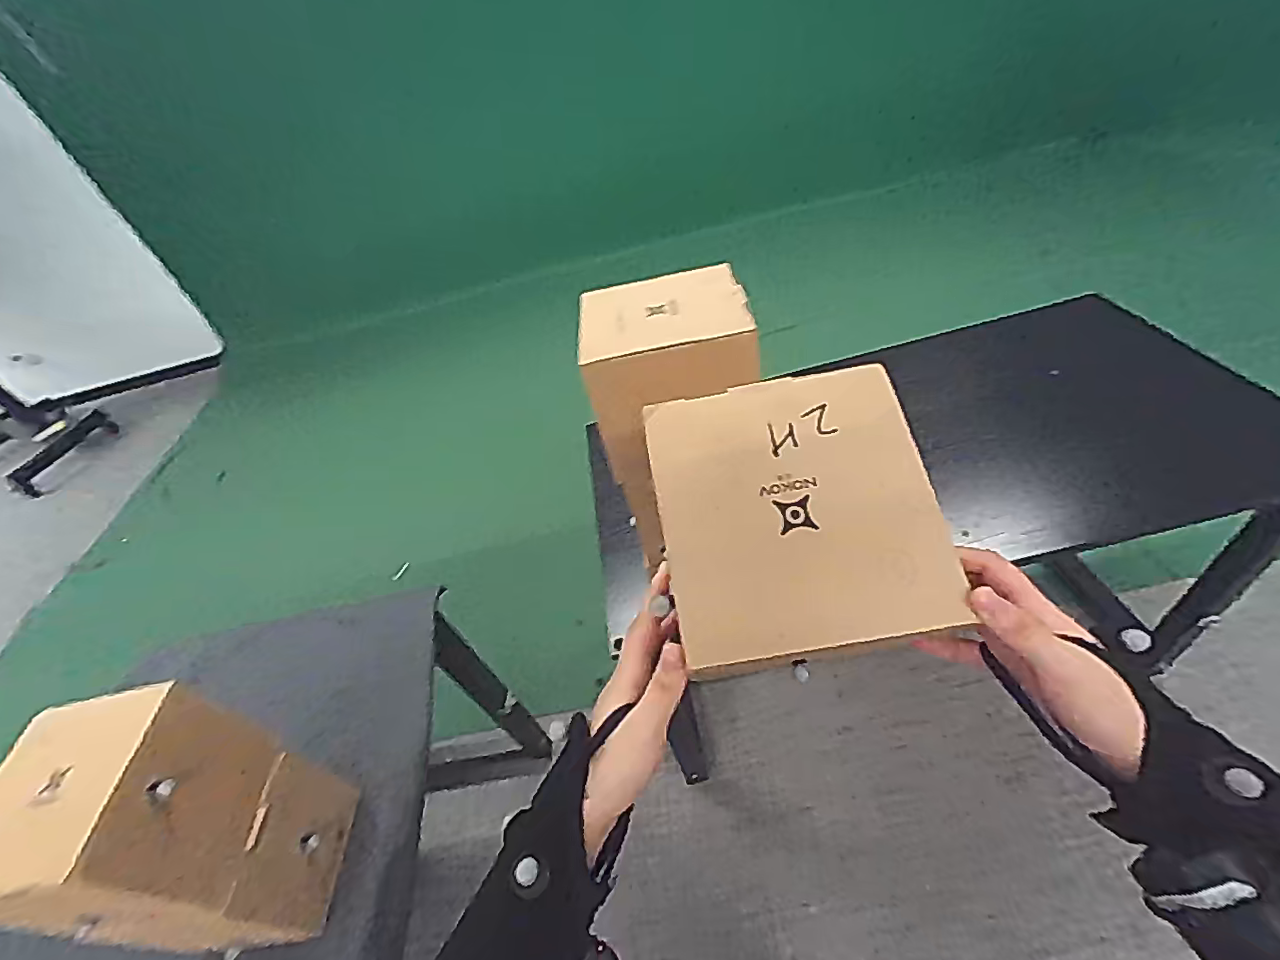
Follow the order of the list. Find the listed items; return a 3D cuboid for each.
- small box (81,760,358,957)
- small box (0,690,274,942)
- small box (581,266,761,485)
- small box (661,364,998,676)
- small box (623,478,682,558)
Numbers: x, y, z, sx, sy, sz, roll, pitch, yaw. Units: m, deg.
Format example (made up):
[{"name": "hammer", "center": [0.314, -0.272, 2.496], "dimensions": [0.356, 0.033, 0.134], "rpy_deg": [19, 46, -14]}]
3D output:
[{"name": "small box", "center": [-0.489, 0.469, 0.667], "dimensions": [0.179, 0.176, 0.168], "rpy_deg": [-13, 44, 6]}, {"name": "small box", "center": [-0.529, 0.350, 0.562], "dimensions": [0.168, 0.176, 0.179], "rpy_deg": [-14, 44, 5]}, {"name": "small box", "center": [0.038, -0.117, 0.624], "dimensions": [0.179, 0.176, 0.168], "rpy_deg": [-11, 42, 5]}, {"name": "small box", "center": [0.114, 0.044, 0.403], "dimensions": [0.168, 0.176, 0.179], "rpy_deg": [-10, 67, 2]}, {"name": "small box", "center": [0.070, -0.010, 0.742], "dimensions": [0.168, 0.176, 0.179], "rpy_deg": [-11, 43, 4]}]
